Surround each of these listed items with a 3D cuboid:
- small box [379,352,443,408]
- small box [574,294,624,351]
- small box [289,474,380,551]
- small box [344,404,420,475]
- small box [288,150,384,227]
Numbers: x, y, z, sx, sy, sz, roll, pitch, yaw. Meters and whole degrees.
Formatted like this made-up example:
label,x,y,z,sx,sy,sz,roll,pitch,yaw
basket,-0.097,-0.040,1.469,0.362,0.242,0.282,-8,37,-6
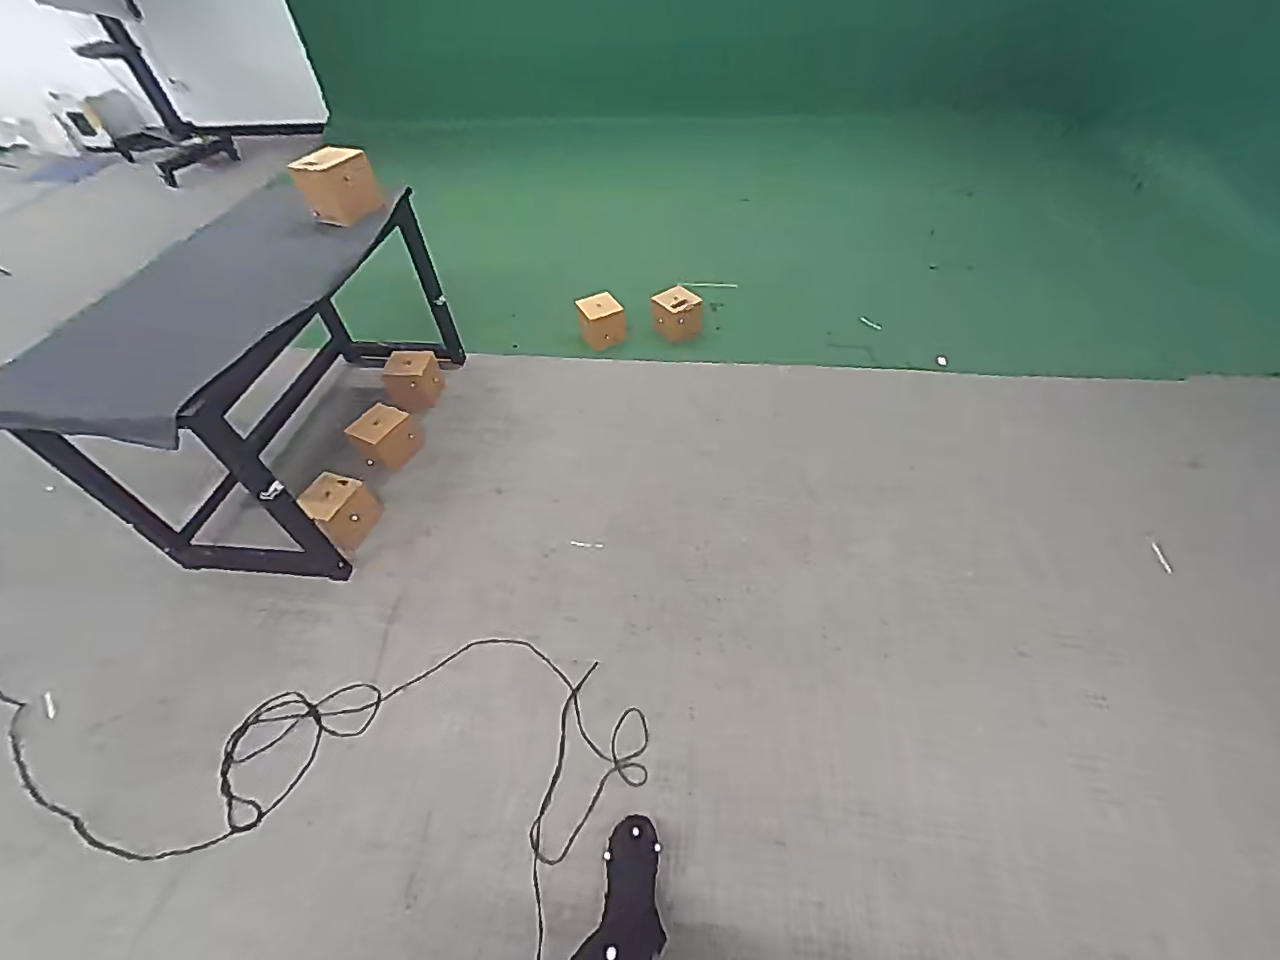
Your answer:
label,x,y,z,sx,sy,sz,roll,pitch,yaw
small box,-0.949,-0.416,2.258,0.179,0.176,0.168,0,49,3
small box,-0.187,-0.721,2.479,0.168,0.176,0.179,-24,53,-16
small box,-1.011,0.111,1.809,0.168,0.176,0.179,13,52,14
small box,-0.955,-0.150,2.031,0.168,0.176,0.179,19,54,20
small box,-0.970,-0.937,1.742,0.168,0.176,0.179,19,54,22
